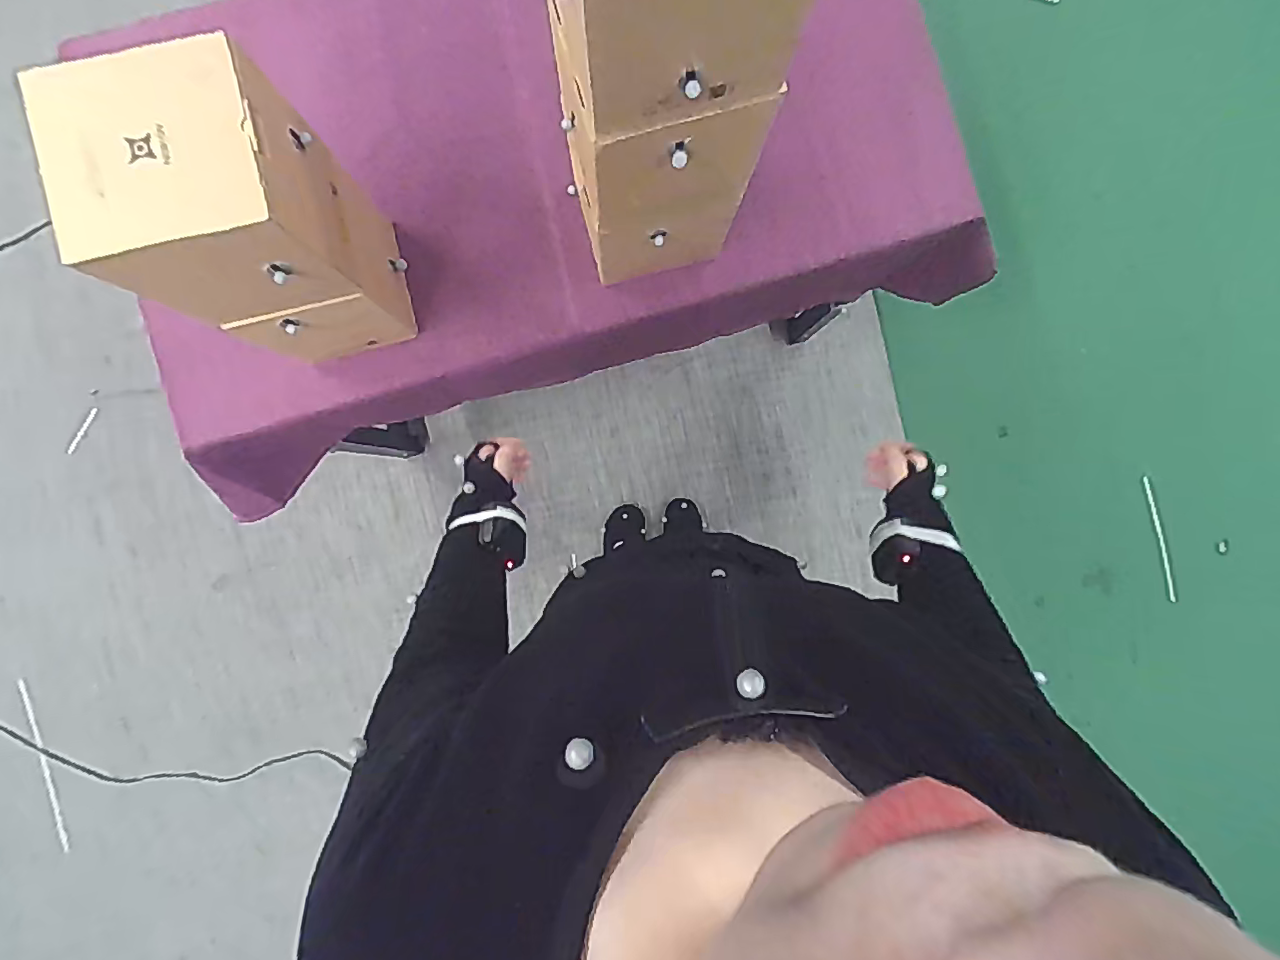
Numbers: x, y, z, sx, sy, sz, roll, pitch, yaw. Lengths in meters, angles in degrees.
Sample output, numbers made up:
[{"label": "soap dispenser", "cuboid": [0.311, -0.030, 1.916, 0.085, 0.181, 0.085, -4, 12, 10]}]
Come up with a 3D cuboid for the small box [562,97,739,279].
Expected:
[{"label": "small box", "cuboid": [0.012, -0.383, 0.703, 0.179, 0.176, 0.168, -15, 90, -2]}]

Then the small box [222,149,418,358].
[{"label": "small box", "cuboid": [-0.411, -0.276, 0.692, 0.168, 0.176, 0.179, -14, 89, -1]}]

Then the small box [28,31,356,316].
[{"label": "small box", "cuboid": [-0.406, -0.277, 0.529, 0.179, 0.176, 0.168, -13, 90, -1]}]

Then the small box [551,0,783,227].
[{"label": "small box", "cuboid": [0.019, -0.385, 0.540, 0.179, 0.176, 0.168, -15, 90, 0]}]
